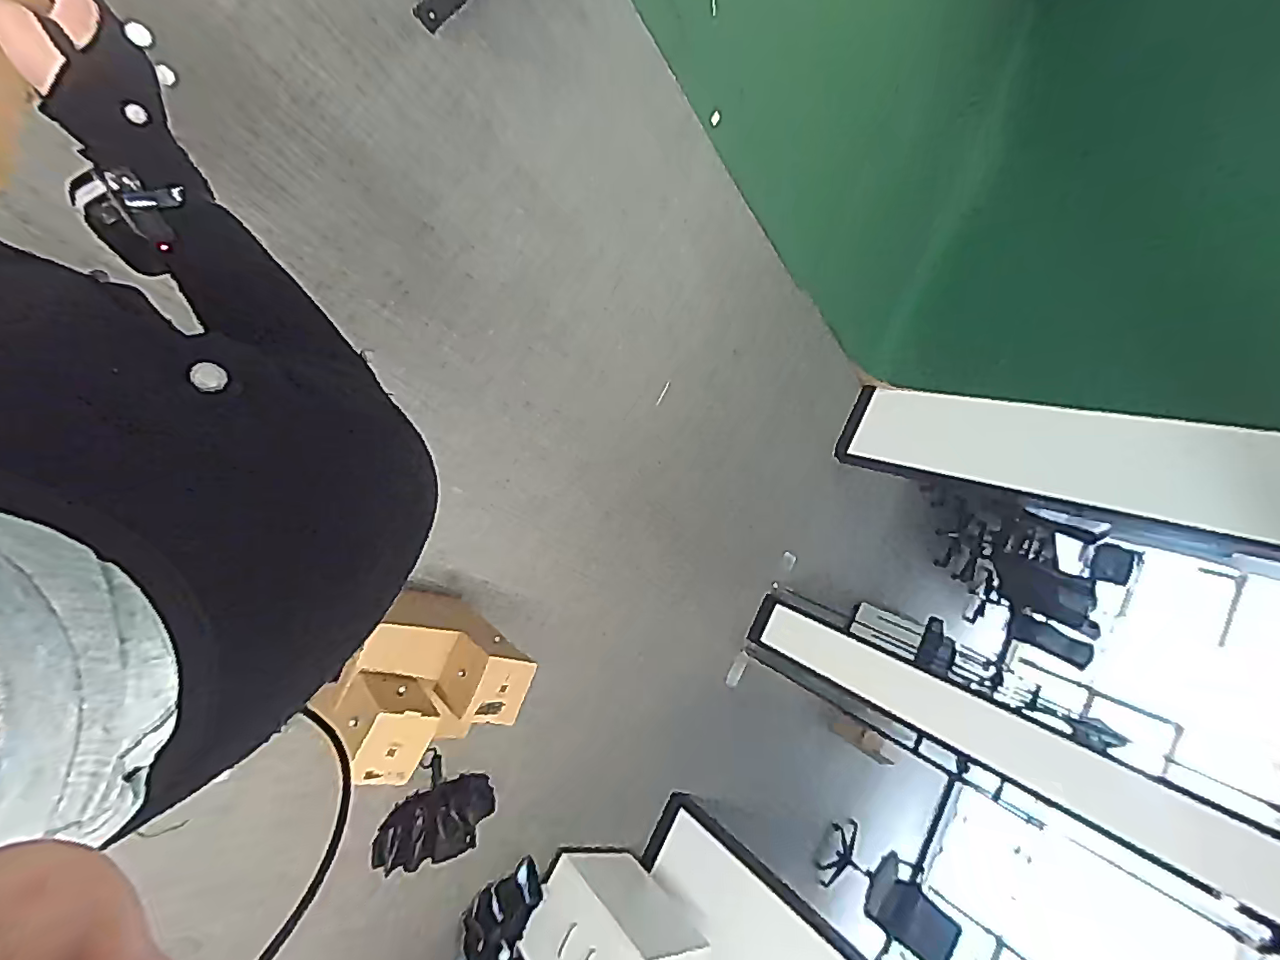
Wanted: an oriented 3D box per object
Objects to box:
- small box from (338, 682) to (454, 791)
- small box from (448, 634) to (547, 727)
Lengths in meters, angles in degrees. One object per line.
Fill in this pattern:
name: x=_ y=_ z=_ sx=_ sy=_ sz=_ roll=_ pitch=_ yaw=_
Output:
small box: x=-0.584 y=0.603 z=1.284 sx=0.168 sy=0.176 sz=0.179 roll=32 pitch=81 yaw=-45
small box: x=-0.389 y=0.539 z=1.455 sx=0.168 sy=0.176 sz=0.179 roll=29 pitch=79 yaw=-45
